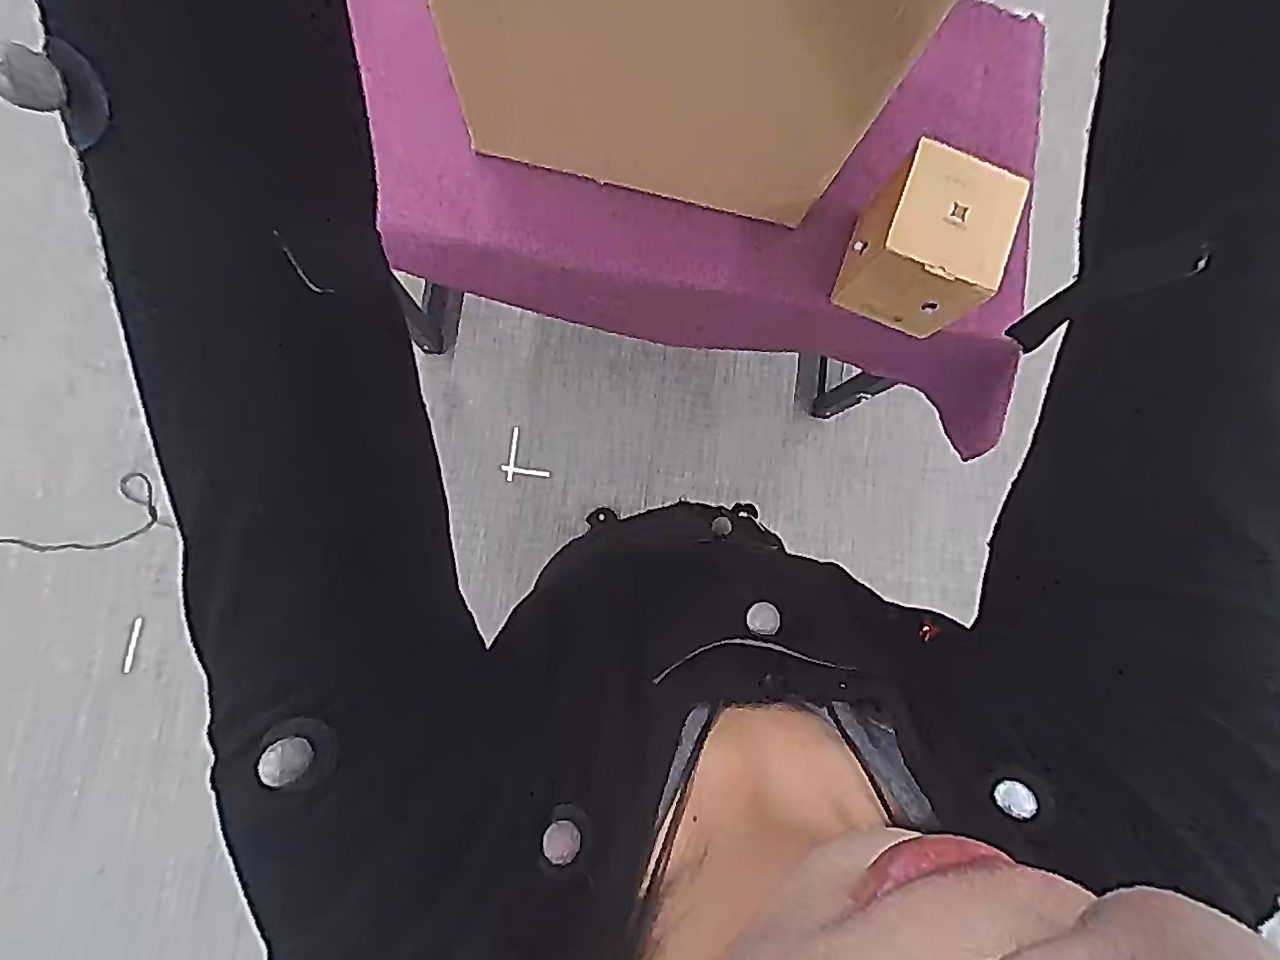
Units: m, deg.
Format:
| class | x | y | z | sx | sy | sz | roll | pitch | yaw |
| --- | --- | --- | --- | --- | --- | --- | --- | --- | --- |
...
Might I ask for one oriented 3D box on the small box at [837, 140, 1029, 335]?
| class | x | y | z | sx | sy | sz | roll | pitch | yaw |
| --- | --- | --- | --- | --- | --- | --- | --- | --- | --- |
| small box | 0.416 | -0.342 | 0.798 | 0.168 | 0.176 | 0.179 | 21 | 81 | -3 |
